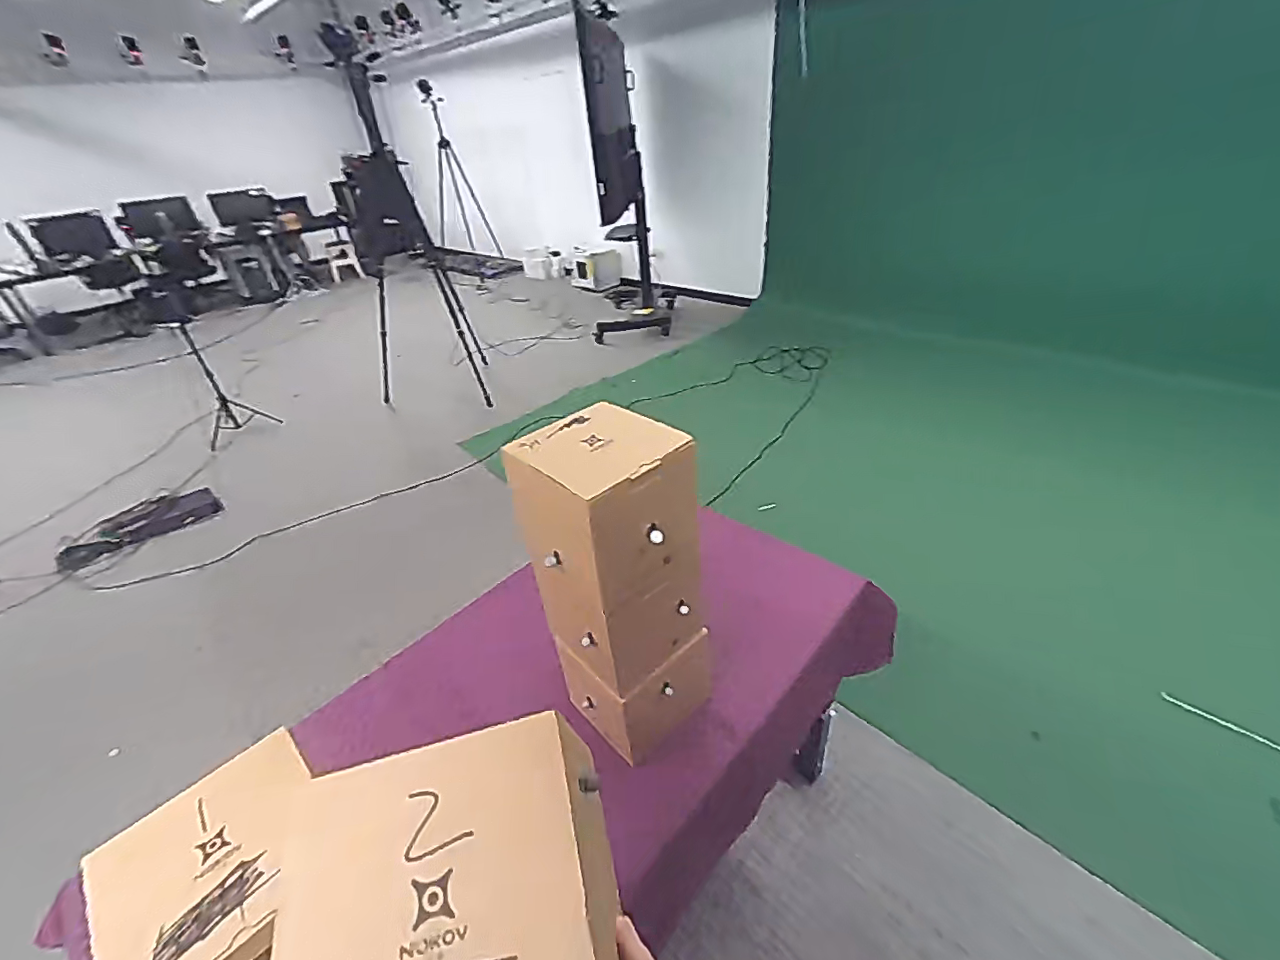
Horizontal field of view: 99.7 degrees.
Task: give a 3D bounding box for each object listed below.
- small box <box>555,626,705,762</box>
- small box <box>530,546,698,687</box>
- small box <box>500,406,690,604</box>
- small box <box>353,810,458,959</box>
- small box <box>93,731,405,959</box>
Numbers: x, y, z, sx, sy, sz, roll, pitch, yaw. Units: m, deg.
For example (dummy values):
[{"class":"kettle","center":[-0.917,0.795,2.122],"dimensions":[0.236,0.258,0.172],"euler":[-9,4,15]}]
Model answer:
[{"class":"small box","center":[-0.007,0.304,0.866],"dimensions":[0.179,0.176,0.168],"euler":[-30,40,-30]},{"class":"small box","center":[-0.030,0.166,0.782],"dimensions":[0.168,0.176,0.179],"euler":[-29,39,-31]},{"class":"small box","center":[-0.049,0.031,0.690],"dimensions":[0.168,0.176,0.179],"euler":[-30,40,-32]},{"class":"small box","center":[-0.332,0.526,0.594],"dimensions":[0.168,0.176,0.179],"euler":[24,44,39]},{"class":"small box","center":[-0.352,0.389,0.507],"dimensions":[0.179,0.176,0.168],"euler":[23,42,39]}]
